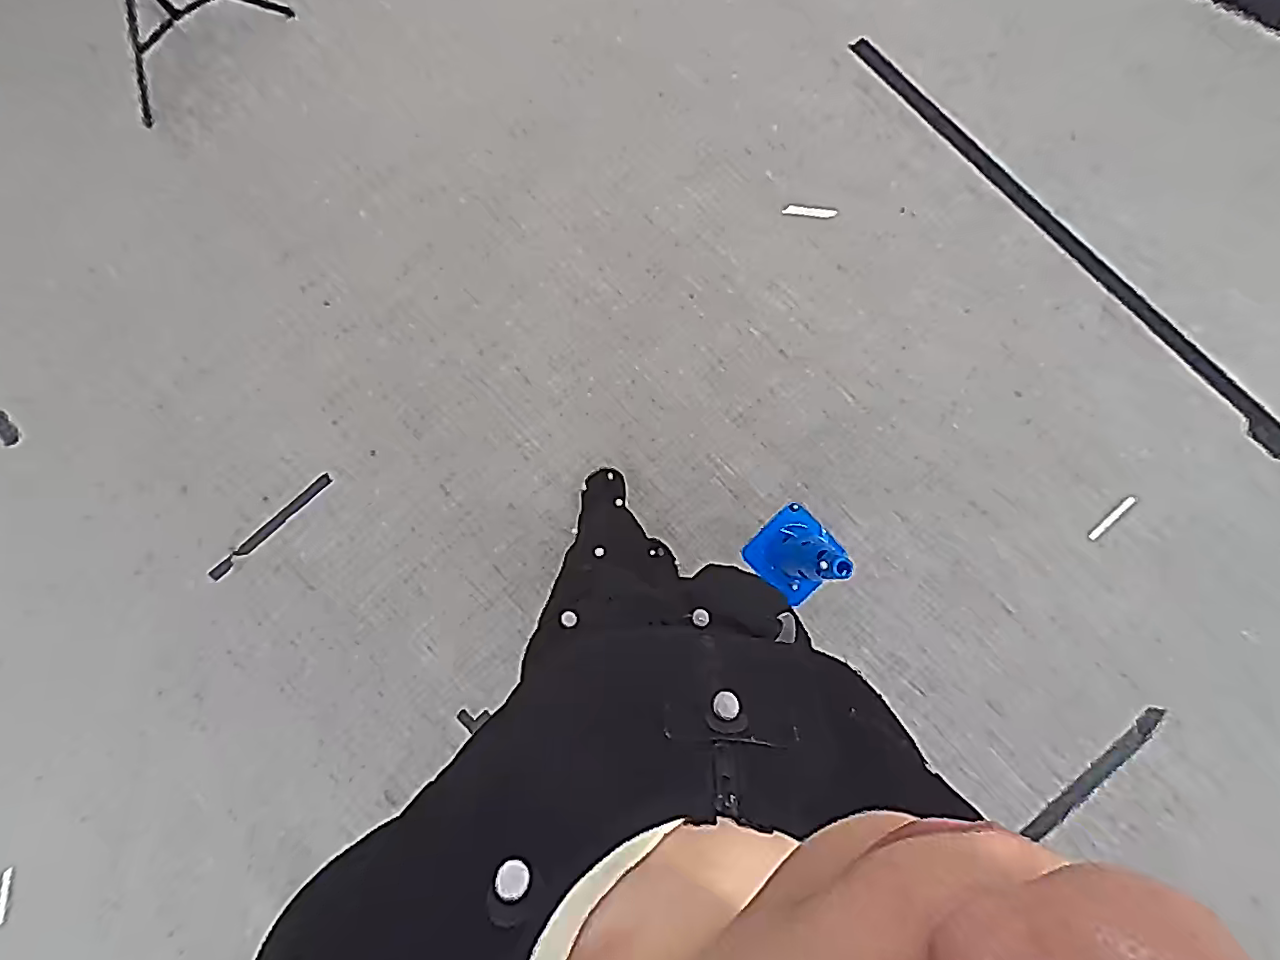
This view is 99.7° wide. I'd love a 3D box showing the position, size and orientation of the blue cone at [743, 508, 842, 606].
[{"bbox_3d":[0.369,0.181,1.182,0.193,0.380,0.192,-43,86,-2],"label":"blue cone"}]
